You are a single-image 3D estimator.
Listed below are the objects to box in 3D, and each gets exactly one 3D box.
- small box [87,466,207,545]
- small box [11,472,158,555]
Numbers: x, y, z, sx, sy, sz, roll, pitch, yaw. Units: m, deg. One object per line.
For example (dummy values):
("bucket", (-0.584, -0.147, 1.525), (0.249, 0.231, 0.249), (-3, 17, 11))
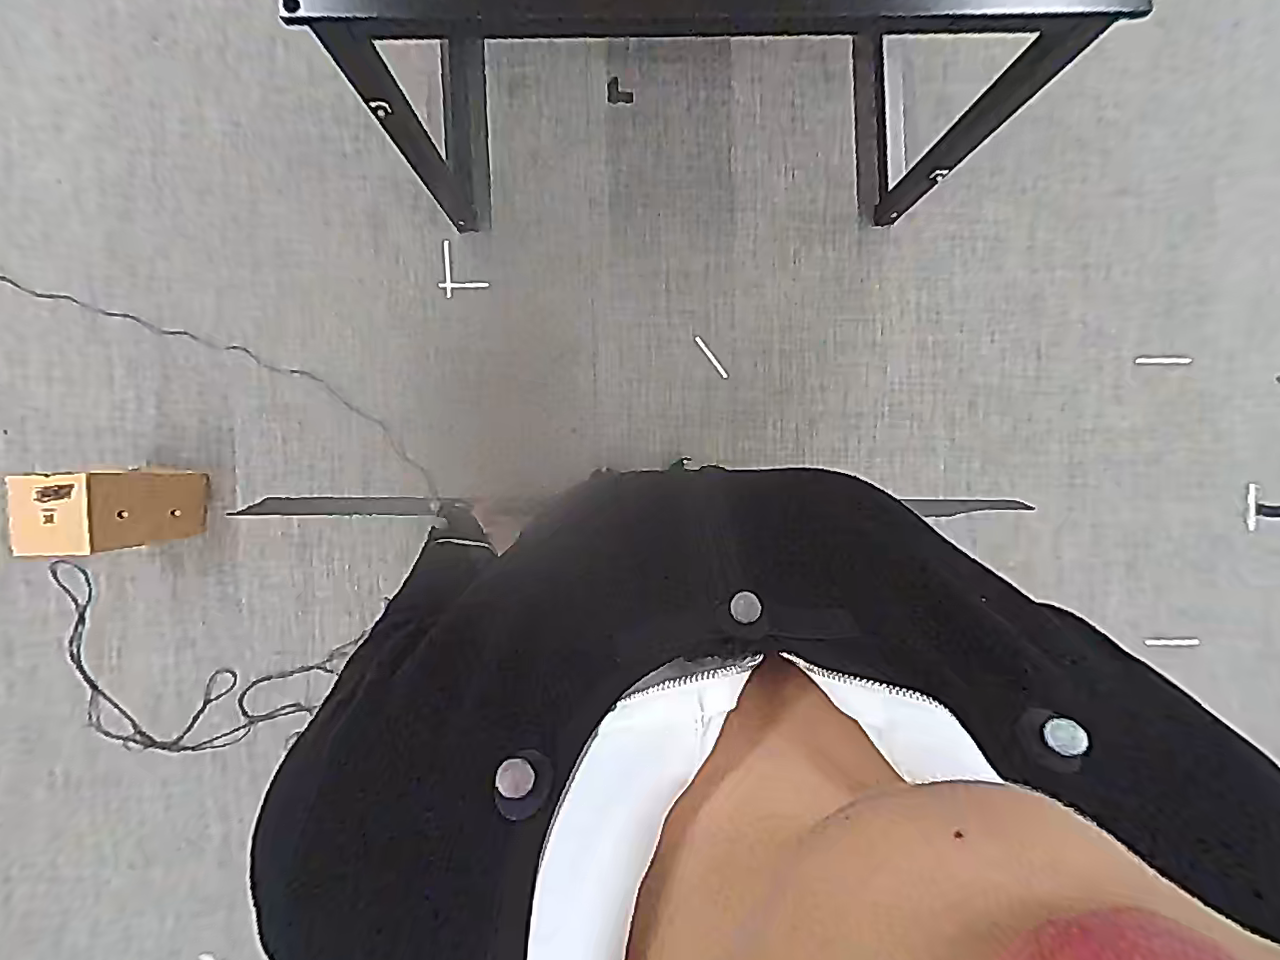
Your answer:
("small box", (-1.255, 0.059, 1.383), (0.168, 0.176, 0.179), (6, 92, -2))
("small box", (-1.239, 0.070, 1.219), (0.168, 0.176, 0.179), (-1, 92, -1))
